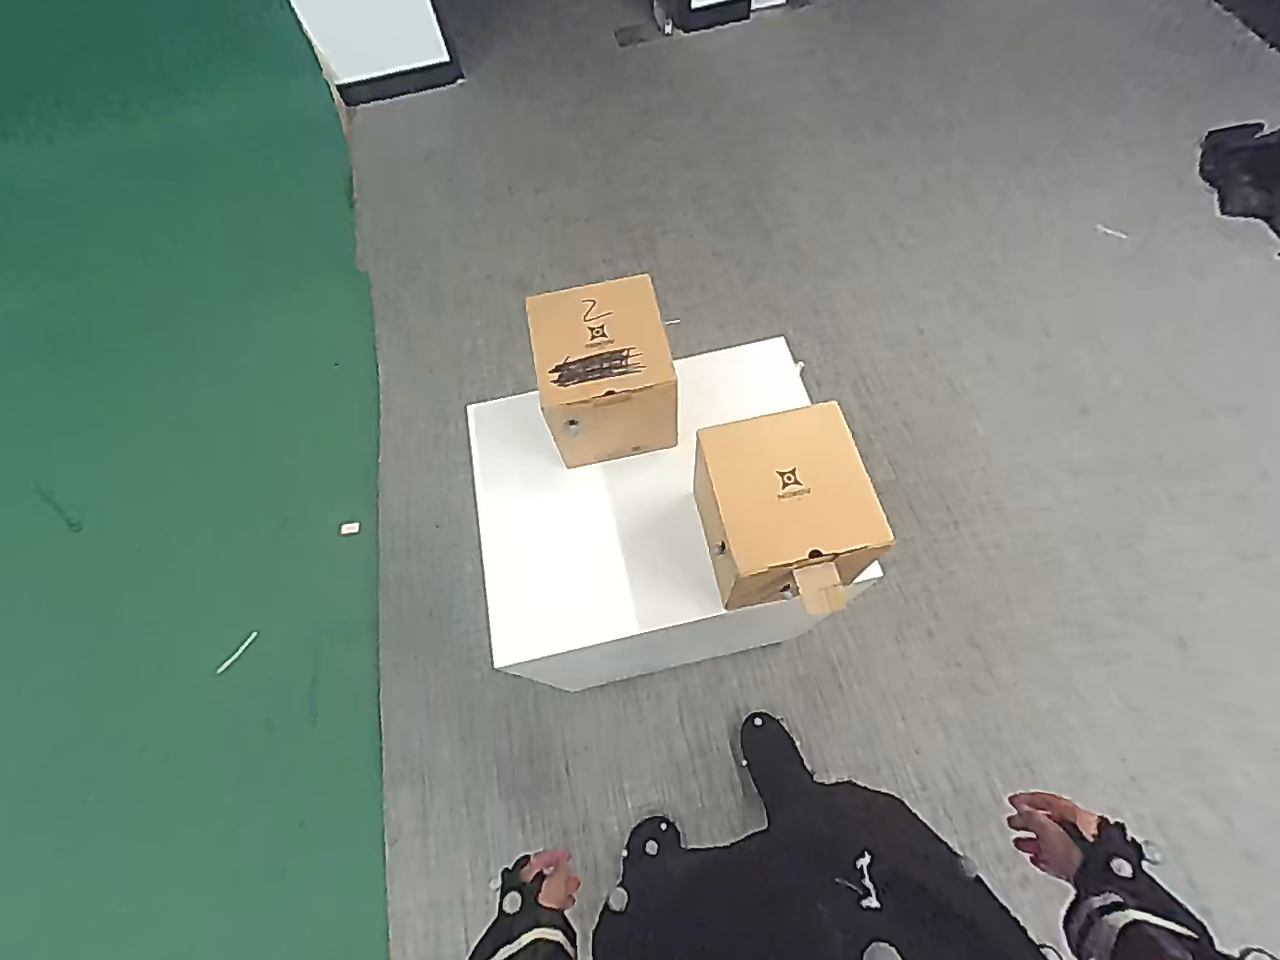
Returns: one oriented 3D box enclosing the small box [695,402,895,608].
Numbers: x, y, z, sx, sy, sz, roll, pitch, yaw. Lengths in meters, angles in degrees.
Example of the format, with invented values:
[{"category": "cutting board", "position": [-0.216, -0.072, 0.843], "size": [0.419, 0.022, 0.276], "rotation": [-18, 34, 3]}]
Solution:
[{"category": "small box", "position": [0.164, 0.037, 0.645], "size": [0.168, 0.176, 0.179], "rotation": [-12, 65, -2]}]
